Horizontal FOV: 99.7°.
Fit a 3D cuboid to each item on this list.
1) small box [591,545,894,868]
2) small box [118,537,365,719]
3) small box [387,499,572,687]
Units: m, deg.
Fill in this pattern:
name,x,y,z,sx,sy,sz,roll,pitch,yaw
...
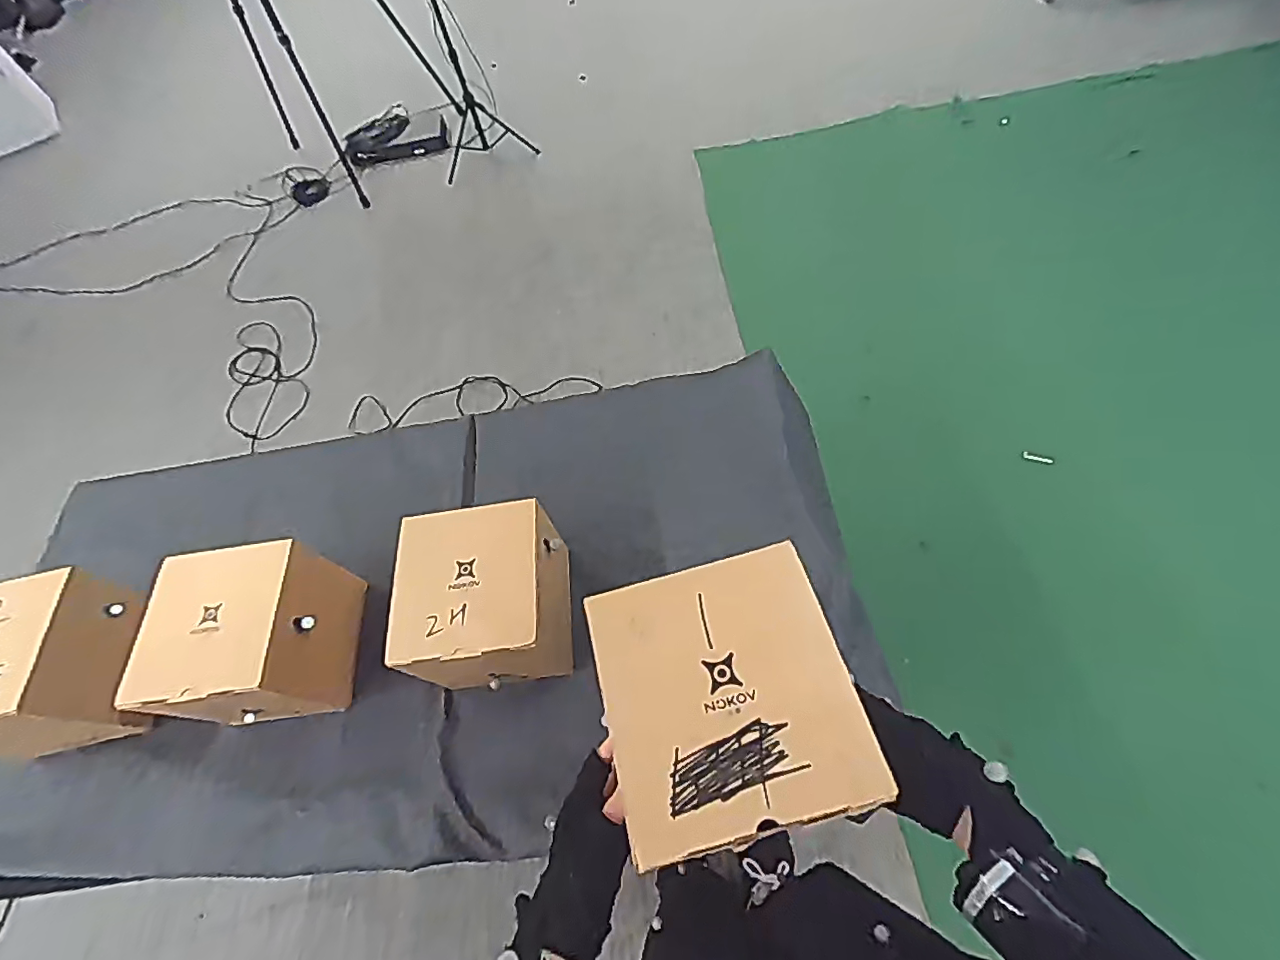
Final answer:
name,x,y,z,sx,sy,sz,roll,pitch,yaw
small box,0.069,0.178,0.436,0.168,0.176,0.179,-15,60,-1
small box,-0.476,0.192,0.682,0.168,0.176,0.179,-8,61,2
small box,-0.182,0.145,0.669,0.168,0.176,0.179,-8,61,3
